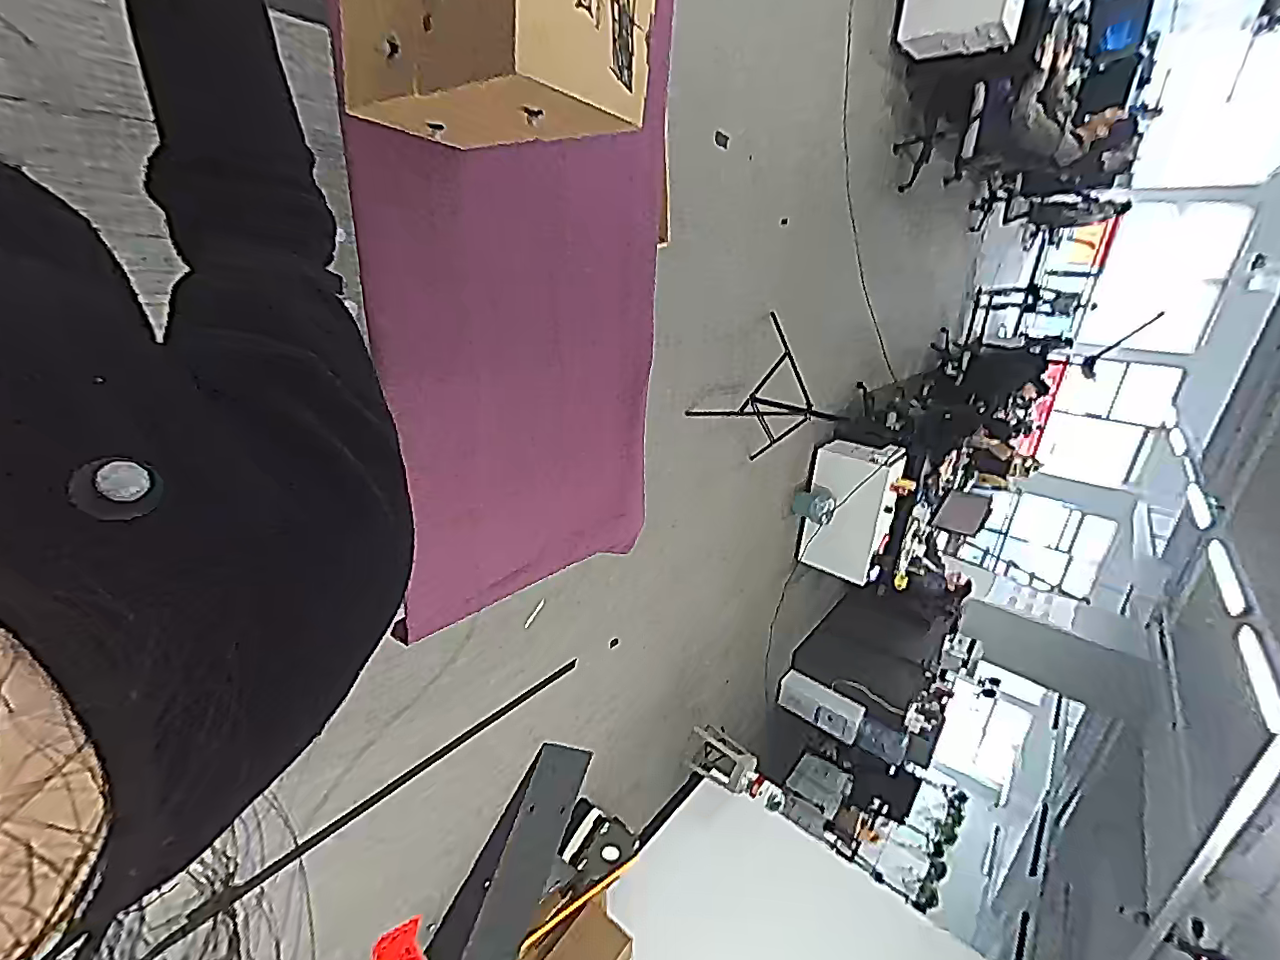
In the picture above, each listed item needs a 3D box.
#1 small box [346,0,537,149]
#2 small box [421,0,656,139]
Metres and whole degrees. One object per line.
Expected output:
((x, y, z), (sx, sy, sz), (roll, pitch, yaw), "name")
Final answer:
((-0.235, -0.520, 0.652), (0.168, 0.176, 0.179), (-16, 118, -49), "small box")
((-0.104, -0.472, 0.564), (0.179, 0.176, 0.168), (-16, 119, -47), "small box")
